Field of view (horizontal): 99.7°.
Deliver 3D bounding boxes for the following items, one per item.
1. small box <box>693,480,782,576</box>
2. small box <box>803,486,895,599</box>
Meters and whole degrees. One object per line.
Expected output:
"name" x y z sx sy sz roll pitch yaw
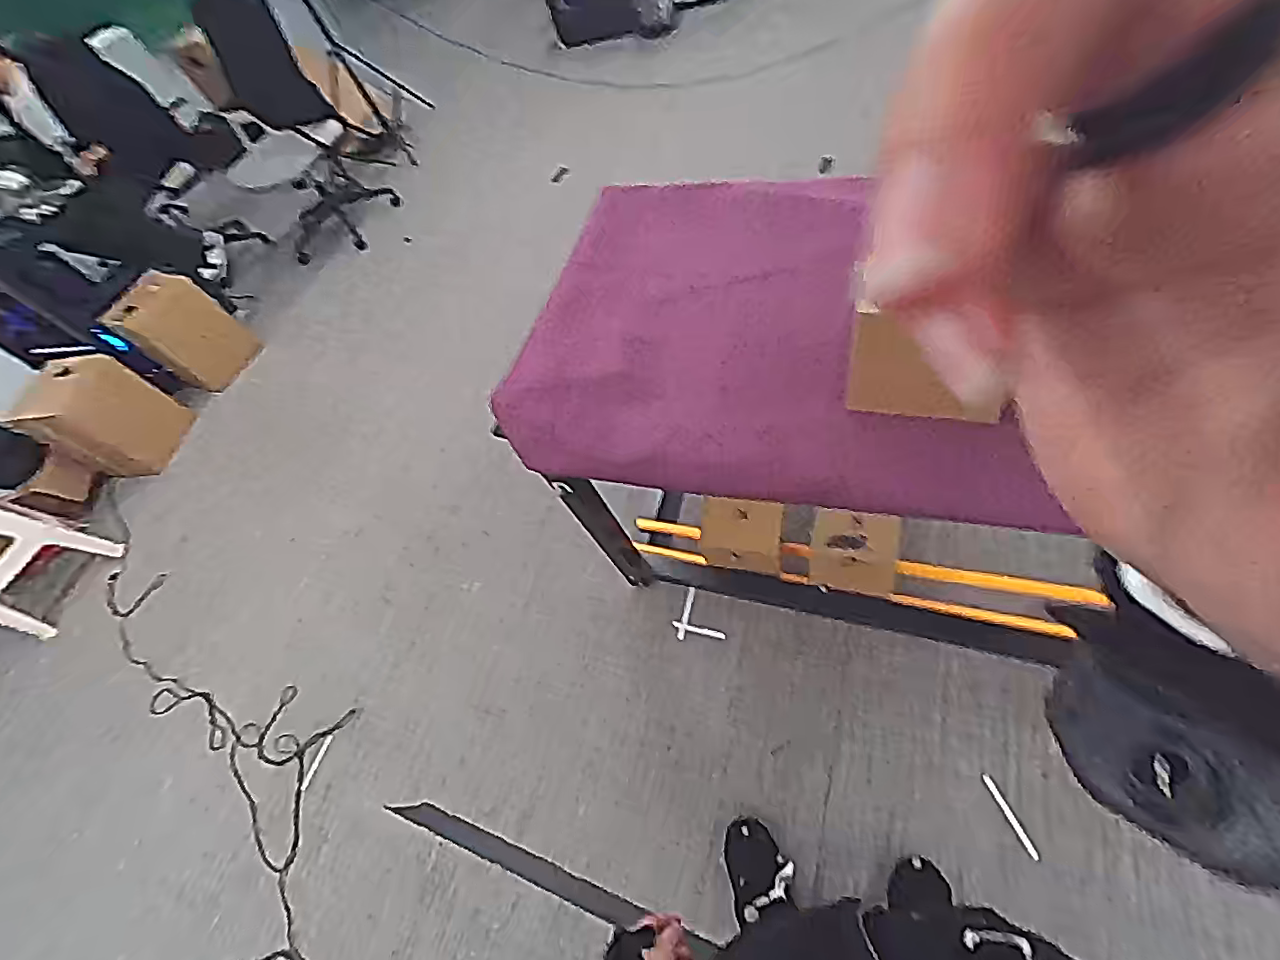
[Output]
"small box" 0.236 0.117 1.266 0.179 0.176 0.168 4 62 20
"small box" 0.455 0.138 1.181 0.168 0.176 0.179 7 55 21
